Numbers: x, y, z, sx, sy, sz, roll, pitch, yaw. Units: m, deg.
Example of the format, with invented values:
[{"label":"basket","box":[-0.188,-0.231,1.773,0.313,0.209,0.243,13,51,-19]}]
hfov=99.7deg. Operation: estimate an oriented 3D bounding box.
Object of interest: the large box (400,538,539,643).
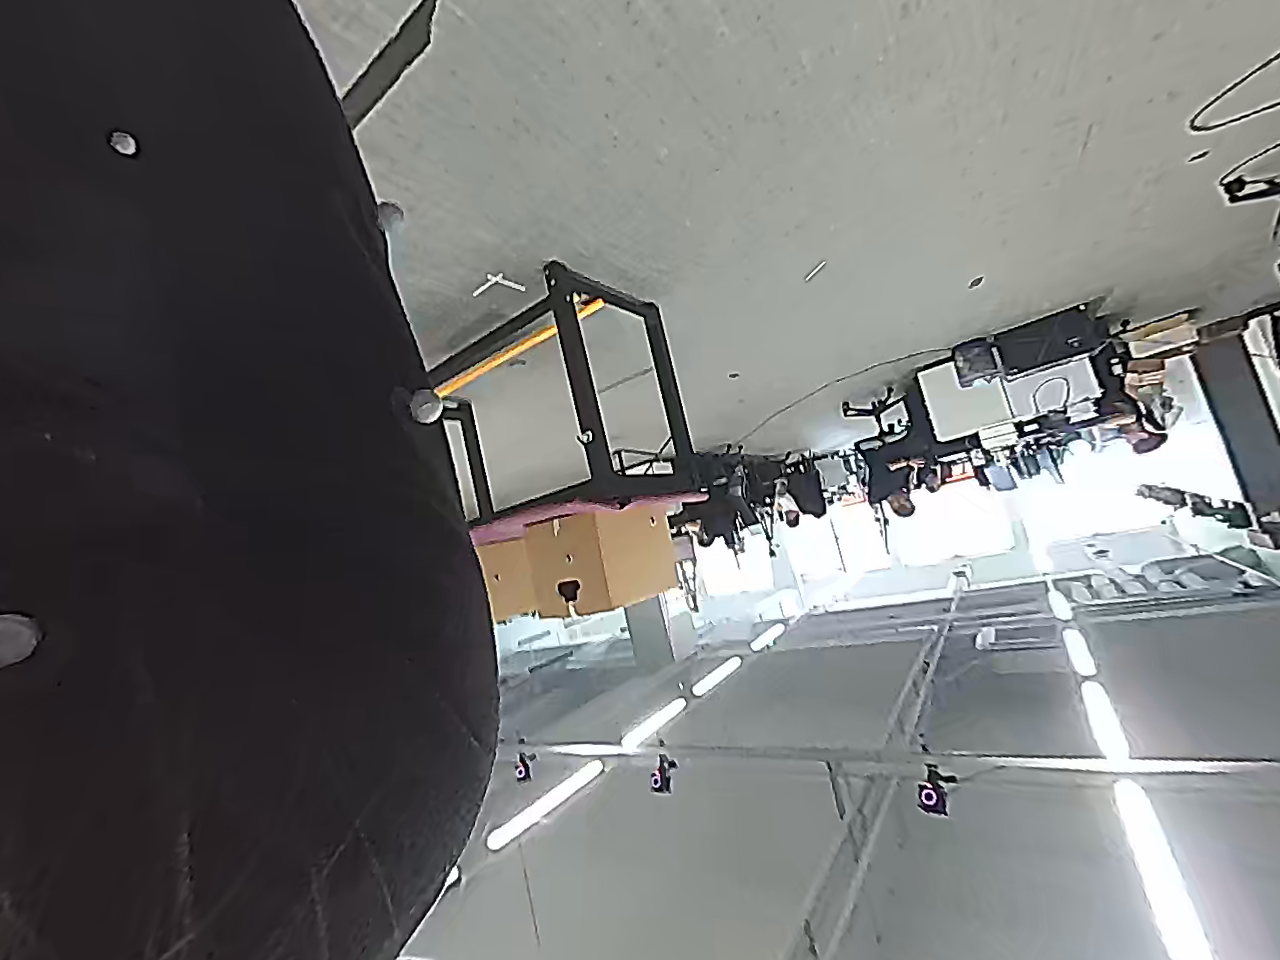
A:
[{"label":"large box","box":[-0.688,0.439,2.198,0.320,0.320,0.408,-17,173,33]}]
